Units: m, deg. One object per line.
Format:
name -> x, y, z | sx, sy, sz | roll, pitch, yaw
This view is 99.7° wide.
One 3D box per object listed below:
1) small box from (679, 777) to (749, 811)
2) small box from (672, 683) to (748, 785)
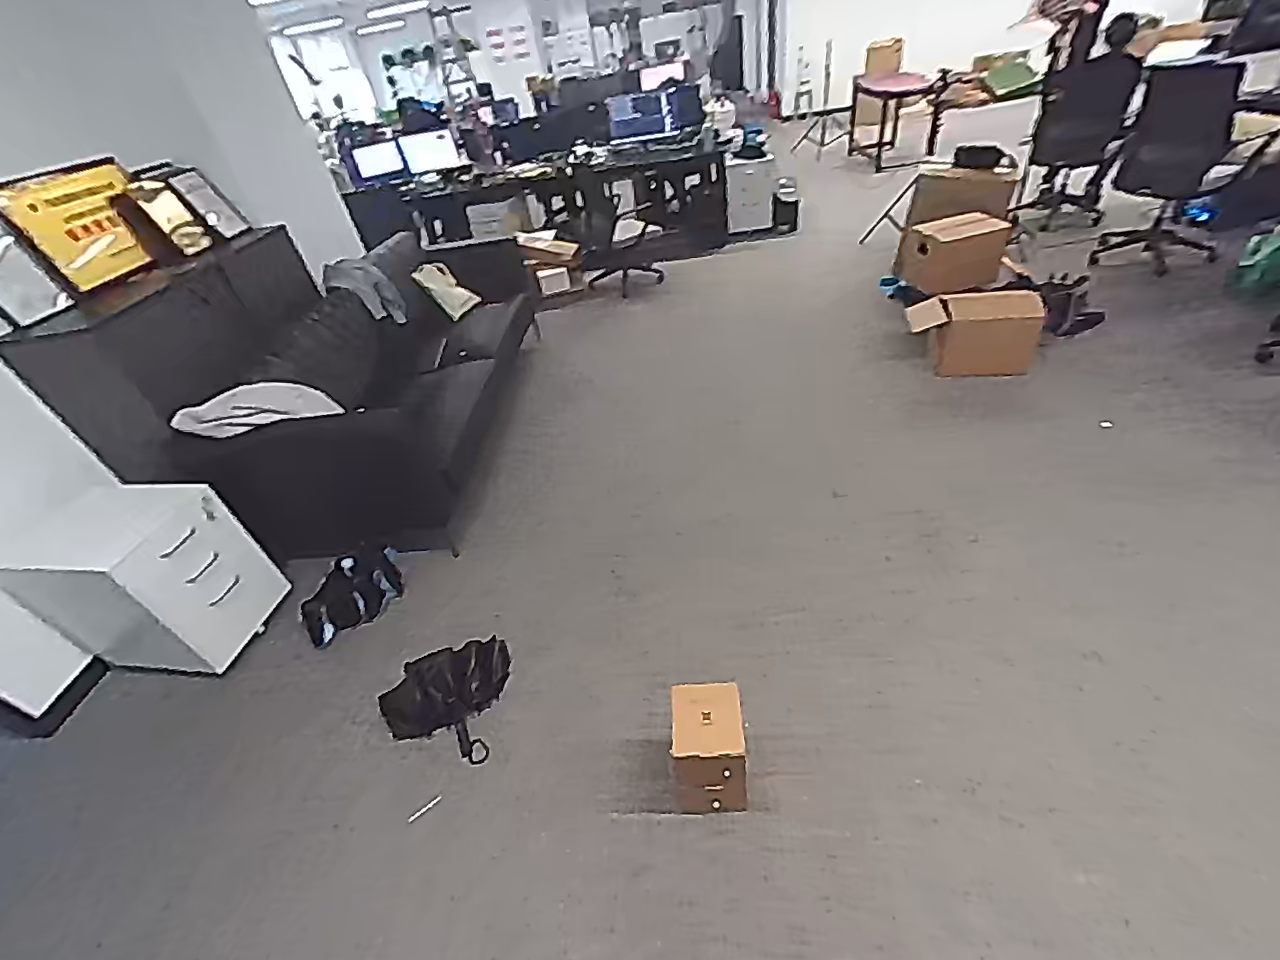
small box -> 0.191, 0.744, 1.410 | 0.168, 0.176, 0.179 | -6, 39, 6
small box -> 0.169, 0.618, 1.309 | 0.168, 0.176, 0.179 | -5, 38, 6
